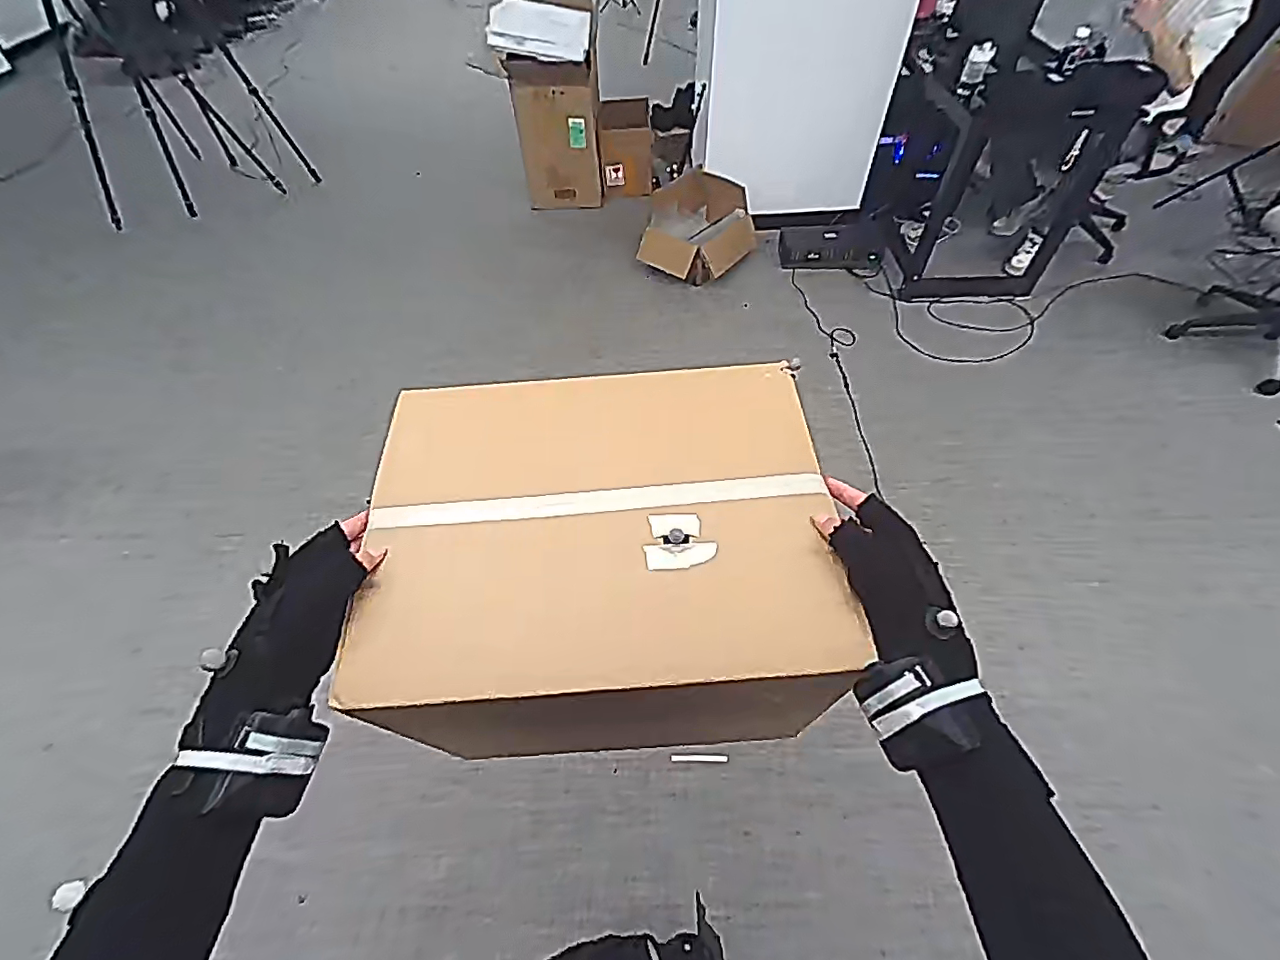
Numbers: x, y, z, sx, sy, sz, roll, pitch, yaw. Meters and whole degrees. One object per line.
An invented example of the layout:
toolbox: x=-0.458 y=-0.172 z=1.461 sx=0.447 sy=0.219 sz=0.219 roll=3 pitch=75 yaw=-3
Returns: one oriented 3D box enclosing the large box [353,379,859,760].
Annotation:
large box: x=-0.033 y=0.115 z=0.622 sx=0.408 sy=0.320 sz=0.320 roll=-4 pitch=57 yaw=-1
